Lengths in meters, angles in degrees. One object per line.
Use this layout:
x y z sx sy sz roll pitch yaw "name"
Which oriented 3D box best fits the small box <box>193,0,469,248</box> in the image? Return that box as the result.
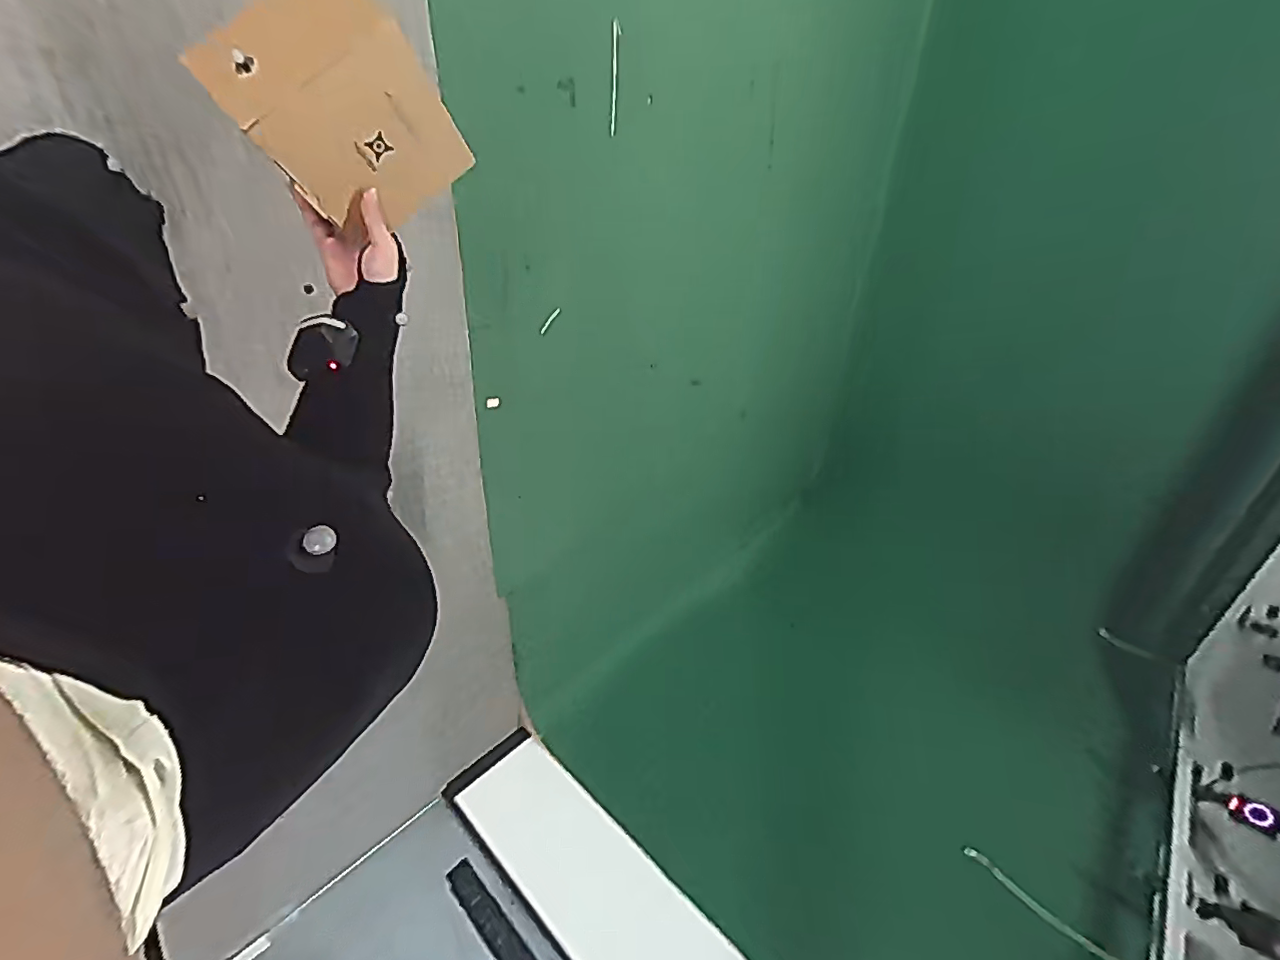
-0.330 -0.401 0.583 0.179 0.176 0.168 -43 159 -3 "small box"
